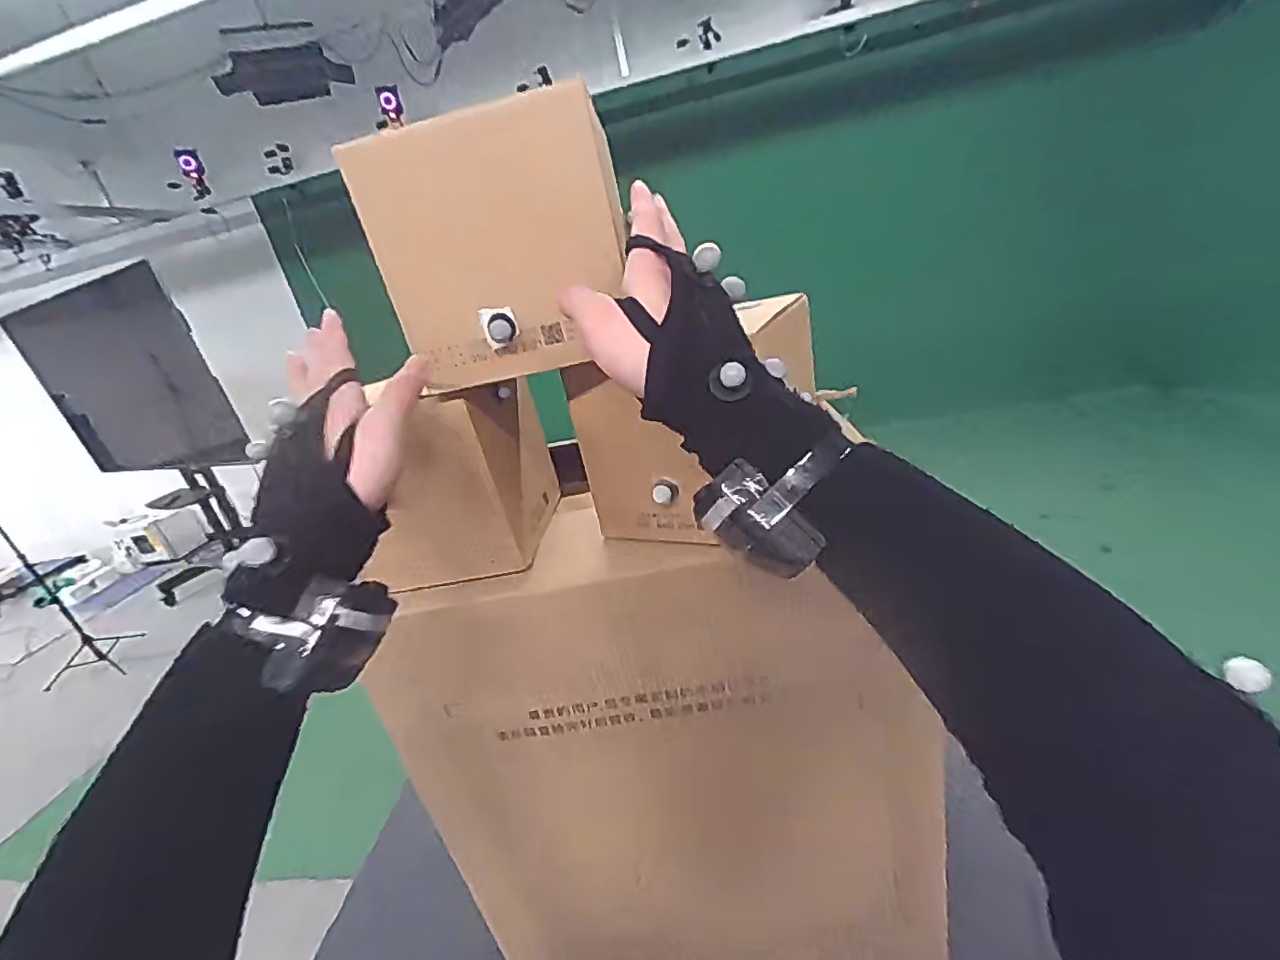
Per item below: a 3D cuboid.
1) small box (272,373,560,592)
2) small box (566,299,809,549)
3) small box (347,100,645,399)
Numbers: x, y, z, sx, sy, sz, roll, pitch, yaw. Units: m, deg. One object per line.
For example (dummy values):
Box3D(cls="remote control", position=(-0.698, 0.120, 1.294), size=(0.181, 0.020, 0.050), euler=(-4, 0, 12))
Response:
Box3D(cls="small box", position=(-0.197, -0.008, 0.534), size=(0.179, 0.176, 0.168), euler=(-11, 23, 8))
Box3D(cls="small box", position=(0.055, -0.057, 0.498), size=(0.168, 0.176, 0.179), euler=(0, 26, 29))
Box3D(cls="small box", position=(-0.095, -0.178, 0.449), size=(0.168, 0.176, 0.179), euler=(-13, 24, 5))
